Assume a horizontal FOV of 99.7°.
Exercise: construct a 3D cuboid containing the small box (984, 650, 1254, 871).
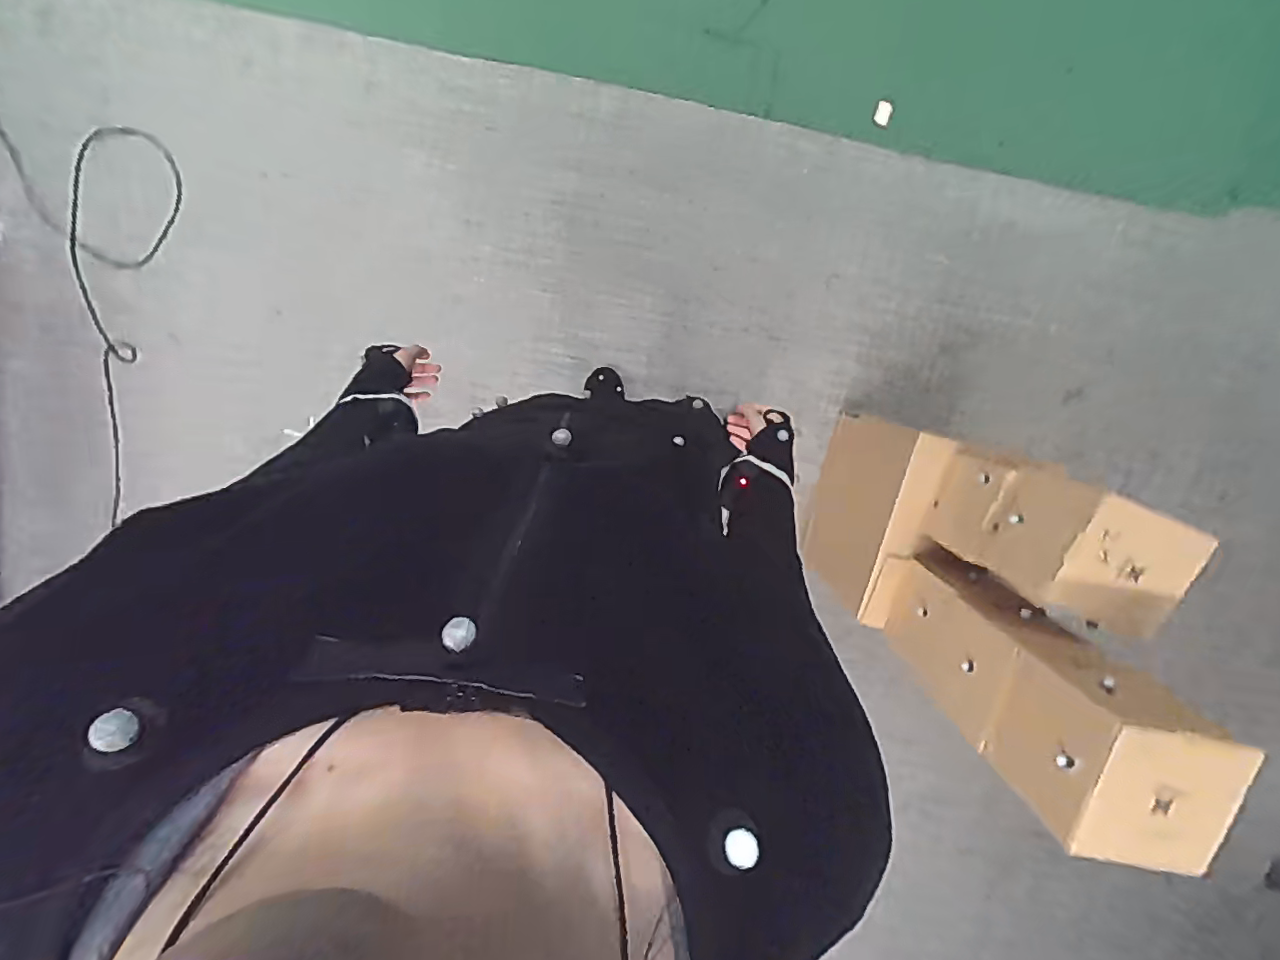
[{"bbox_3d":[0.586,0.344,0.693,0.168,0.176,0.179,12,103,-1],"label":"small box"}]
